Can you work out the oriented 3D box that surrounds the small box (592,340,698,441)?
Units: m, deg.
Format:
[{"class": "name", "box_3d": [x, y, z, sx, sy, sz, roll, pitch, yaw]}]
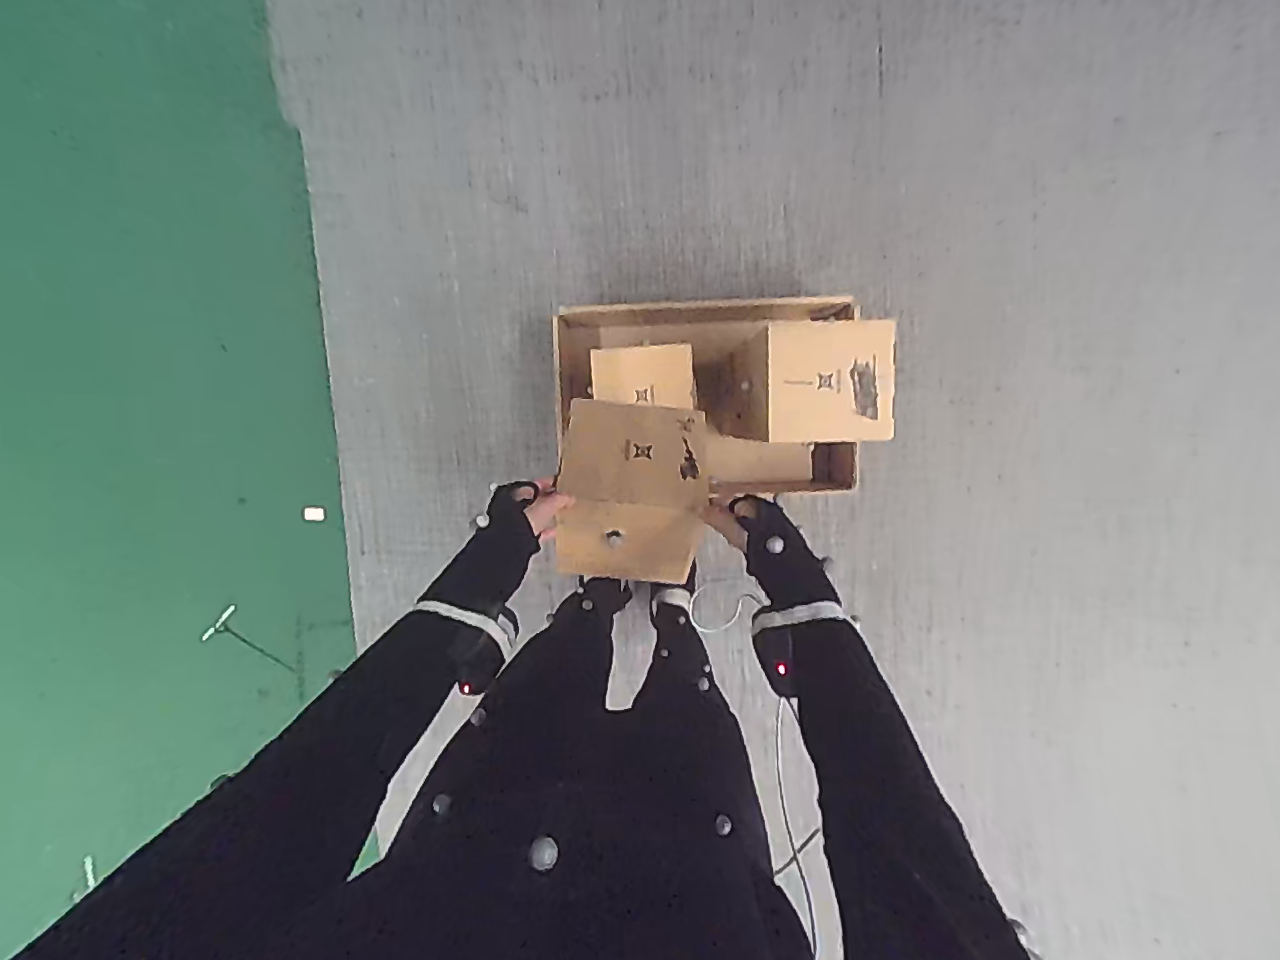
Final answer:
[{"class": "small box", "box_3d": [0.010, -0.158, 1.000, 0.179, 0.176, 0.168, -4, 95, 0]}]

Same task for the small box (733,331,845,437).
[{"class": "small box", "box_3d": [0.265, -0.170, 0.991, 0.168, 0.176, 0.179, -1, 95, 2]}]
